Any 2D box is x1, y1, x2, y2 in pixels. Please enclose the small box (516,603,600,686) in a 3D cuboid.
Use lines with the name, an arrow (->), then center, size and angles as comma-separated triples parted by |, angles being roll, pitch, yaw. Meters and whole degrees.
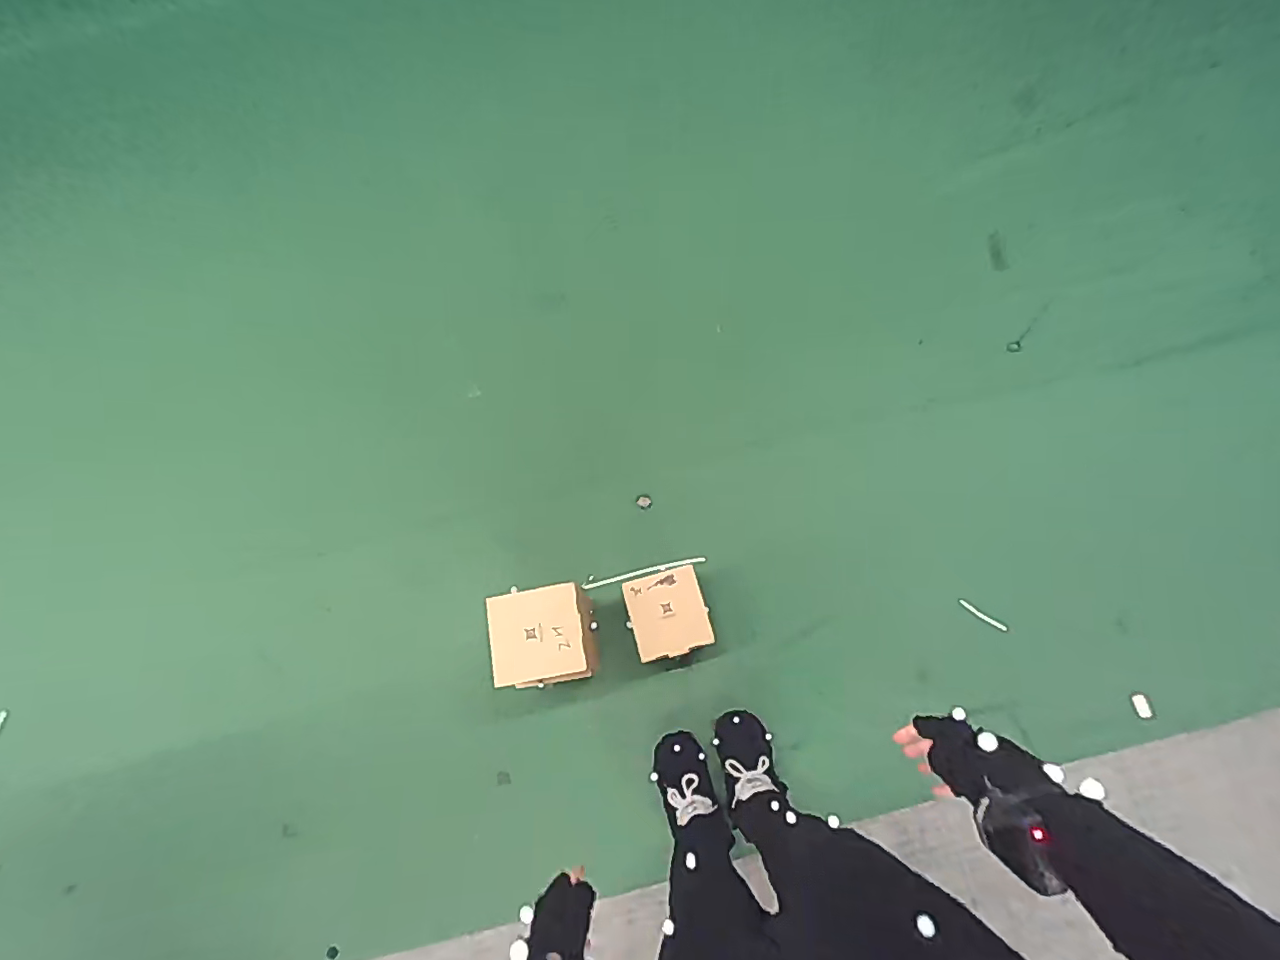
small box -> -0.190, 0.365, 1.244 | 0.168, 0.176, 0.179 | -9, 73, 0

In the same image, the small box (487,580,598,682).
small box -> -0.191, 0.306, 1.090 | 0.179, 0.176, 0.168 | -10, 73, 0
